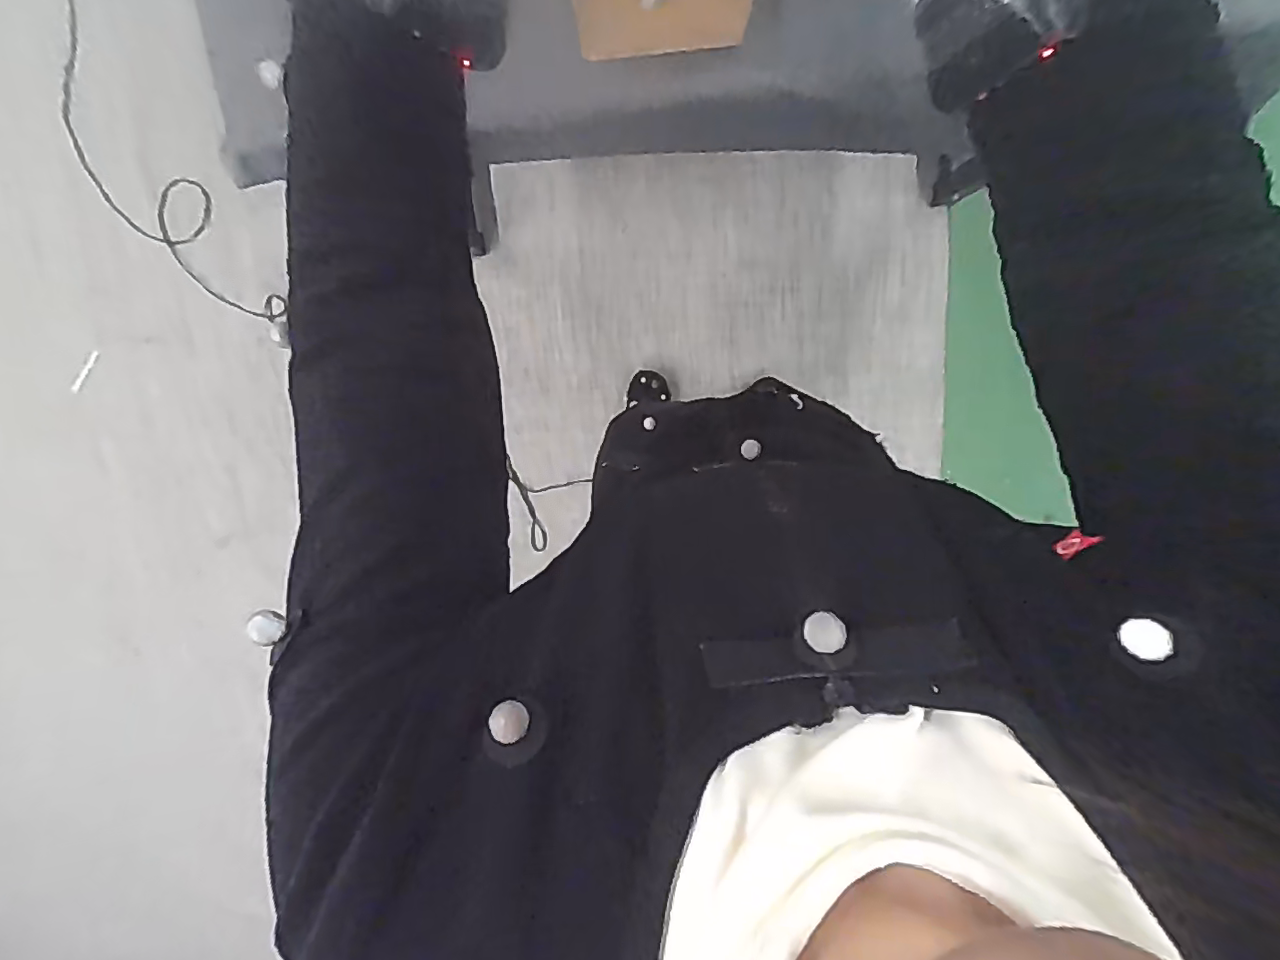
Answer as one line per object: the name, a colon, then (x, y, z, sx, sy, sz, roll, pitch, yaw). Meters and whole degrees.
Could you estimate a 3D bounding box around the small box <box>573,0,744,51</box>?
small box: (0.015, -0.538, 0.501, 0.179, 0.176, 0.168, -4, 101, 2)
